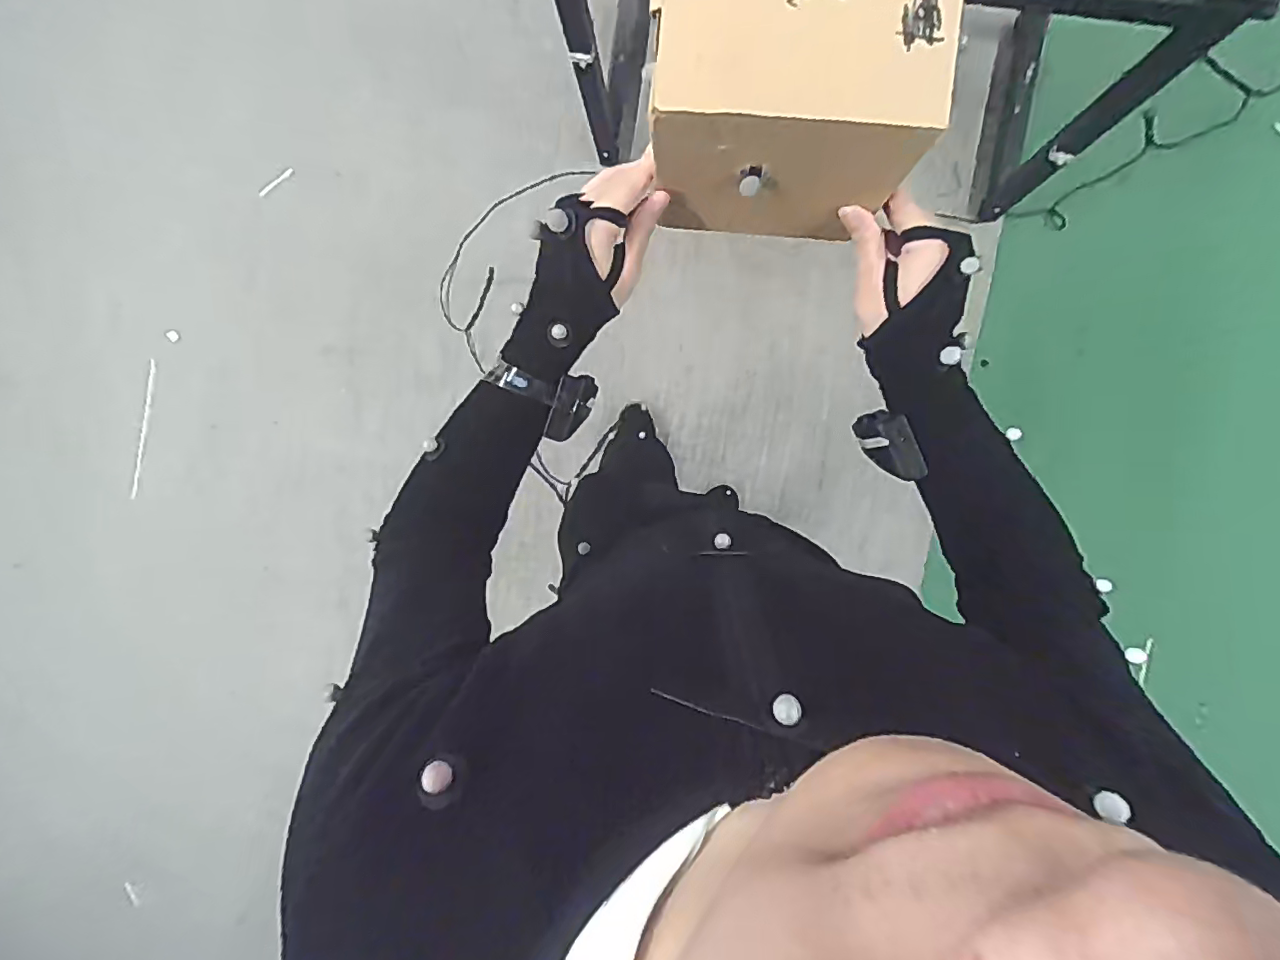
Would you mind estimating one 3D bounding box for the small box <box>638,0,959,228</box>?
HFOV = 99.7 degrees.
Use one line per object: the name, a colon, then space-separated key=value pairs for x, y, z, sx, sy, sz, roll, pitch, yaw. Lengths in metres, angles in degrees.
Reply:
small box: x=0.100 y=-0.297 z=0.383 sx=0.179 sy=0.176 sz=0.168 roll=6 pitch=94 yaw=5
